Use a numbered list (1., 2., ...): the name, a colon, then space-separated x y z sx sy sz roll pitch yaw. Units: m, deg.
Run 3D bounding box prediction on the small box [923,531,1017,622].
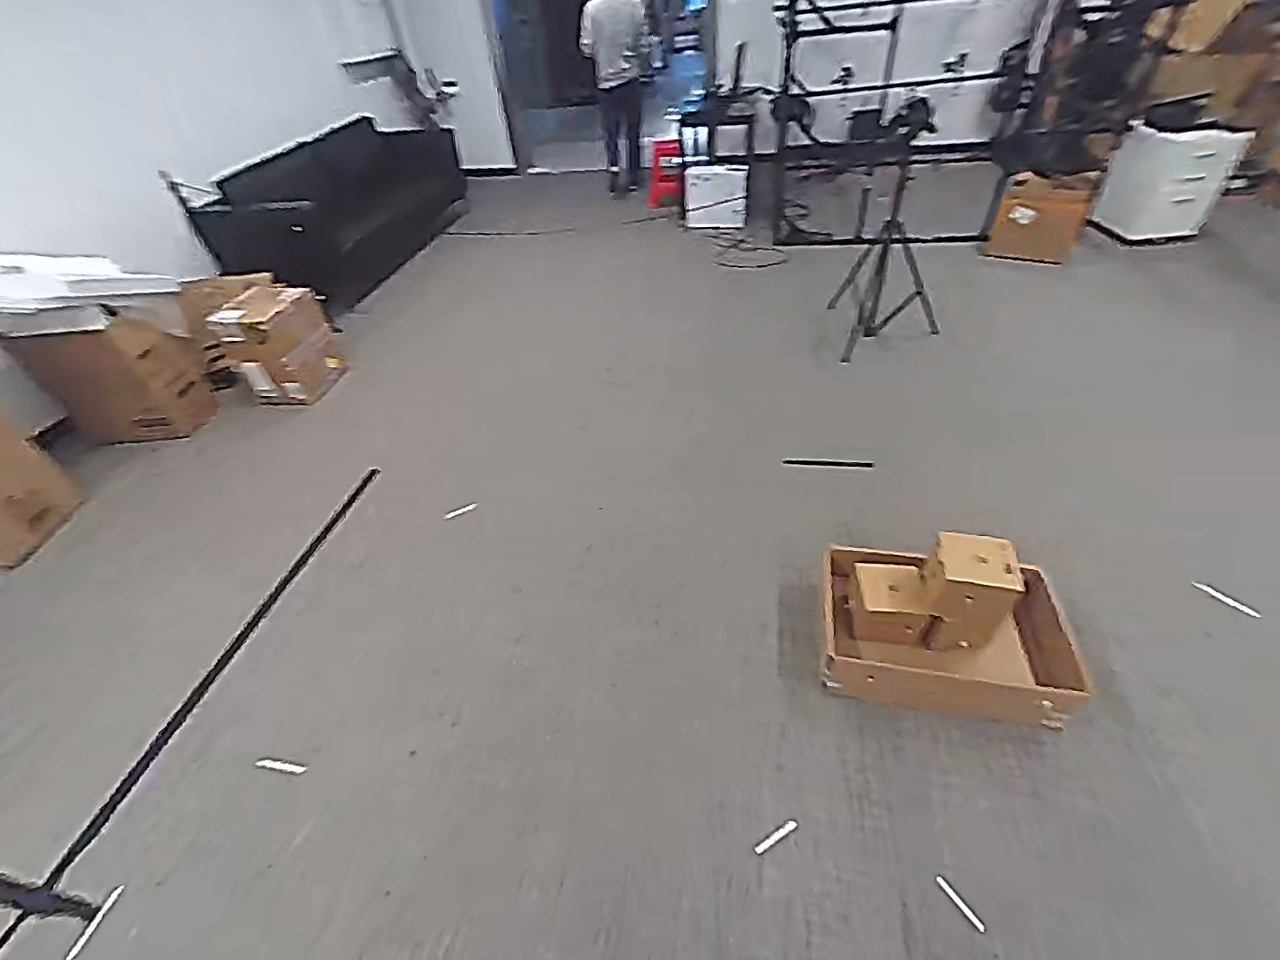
1. small box: 0.875 0.262 1.456 0.179 0.176 0.168 6 46 15
